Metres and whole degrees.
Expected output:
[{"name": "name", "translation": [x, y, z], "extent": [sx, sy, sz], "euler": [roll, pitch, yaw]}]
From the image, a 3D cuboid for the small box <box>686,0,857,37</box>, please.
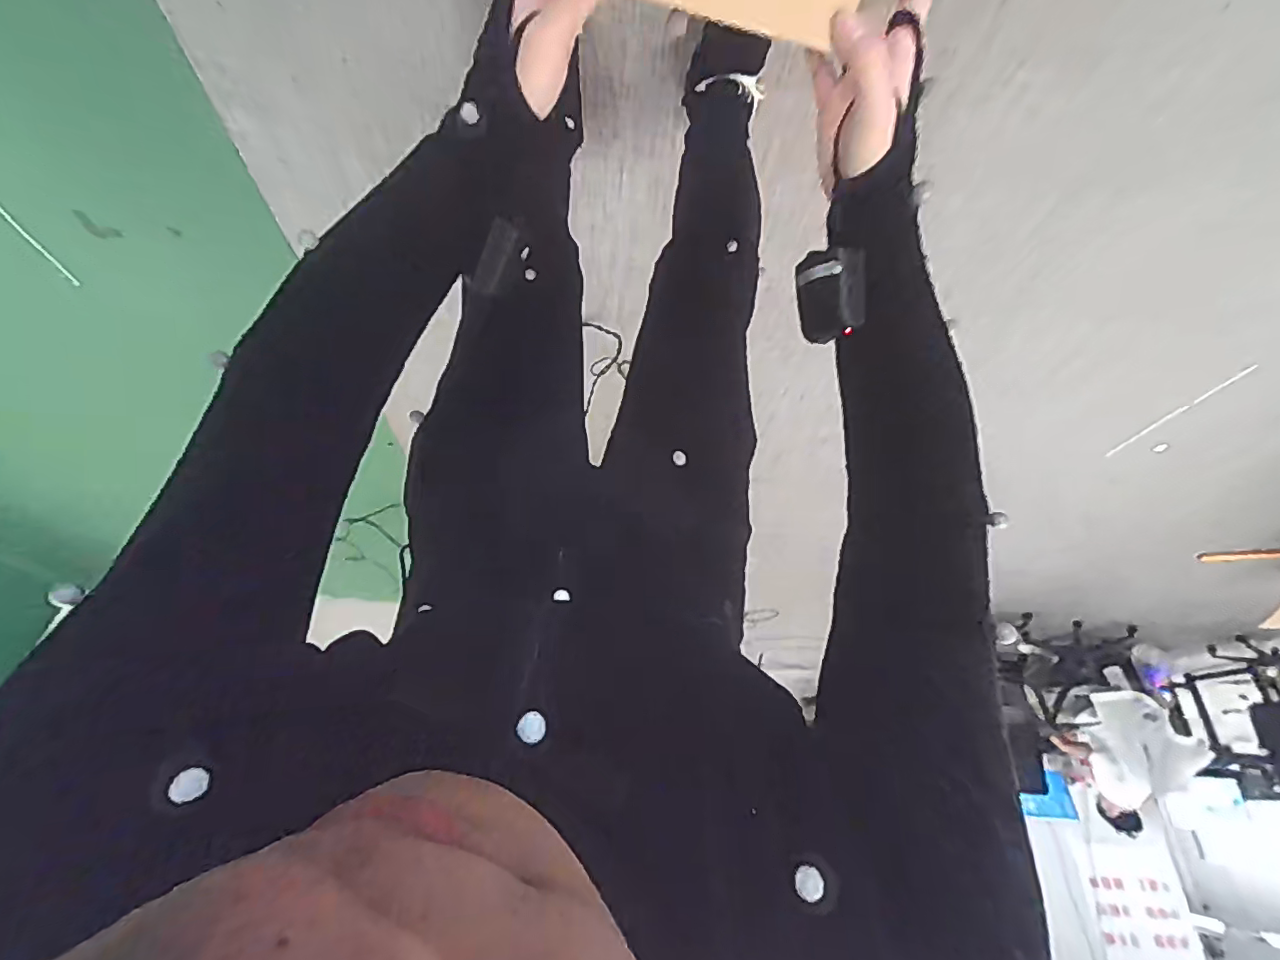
[{"name": "small box", "translation": [0.074, -0.413, 0.342], "extent": [0.168, 0.176, 0.179], "euler": [11, 129, -7]}]
